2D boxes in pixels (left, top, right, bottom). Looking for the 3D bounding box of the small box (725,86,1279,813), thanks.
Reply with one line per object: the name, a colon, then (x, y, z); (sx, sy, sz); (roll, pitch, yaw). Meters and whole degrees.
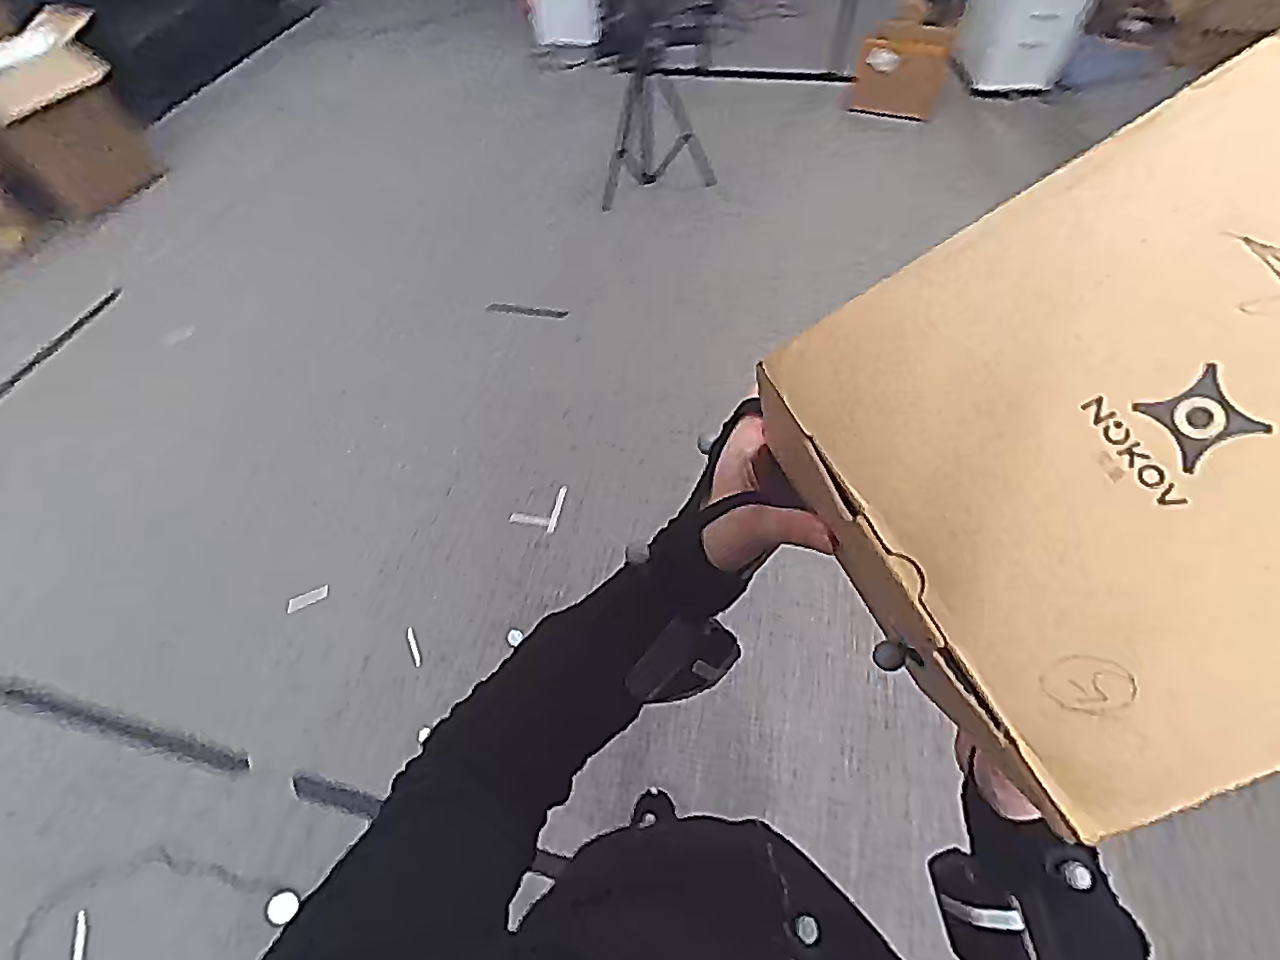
small box: (0.161, -0.003, 0.242); (0.179, 0.176, 0.168); (-33, 78, 8)
